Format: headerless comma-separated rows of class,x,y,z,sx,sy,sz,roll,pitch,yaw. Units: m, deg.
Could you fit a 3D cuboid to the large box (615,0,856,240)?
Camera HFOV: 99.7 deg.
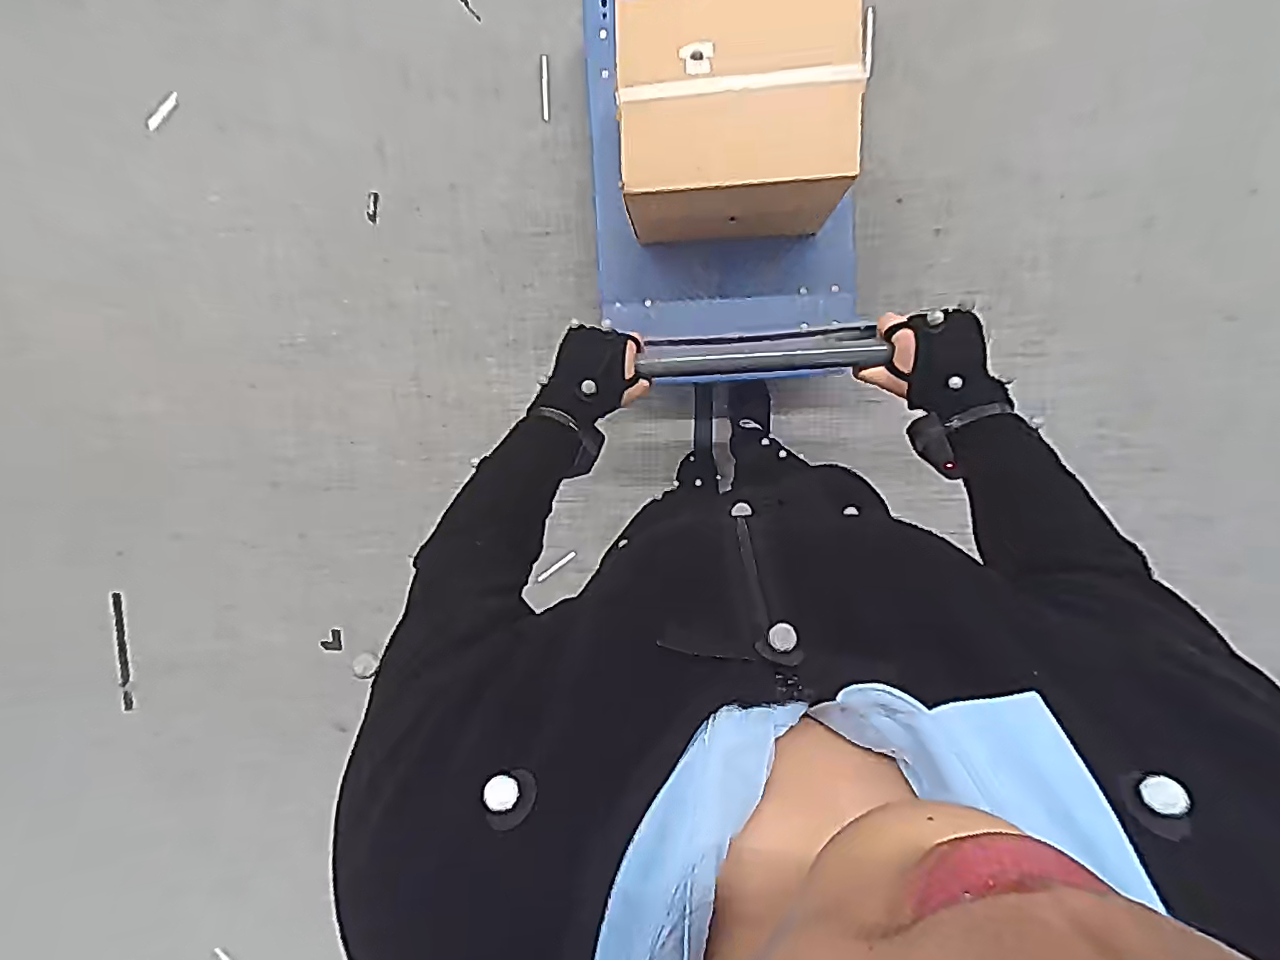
large box,0.180,-0.689,1.067,0.408,0.320,0.320,-1,97,7
